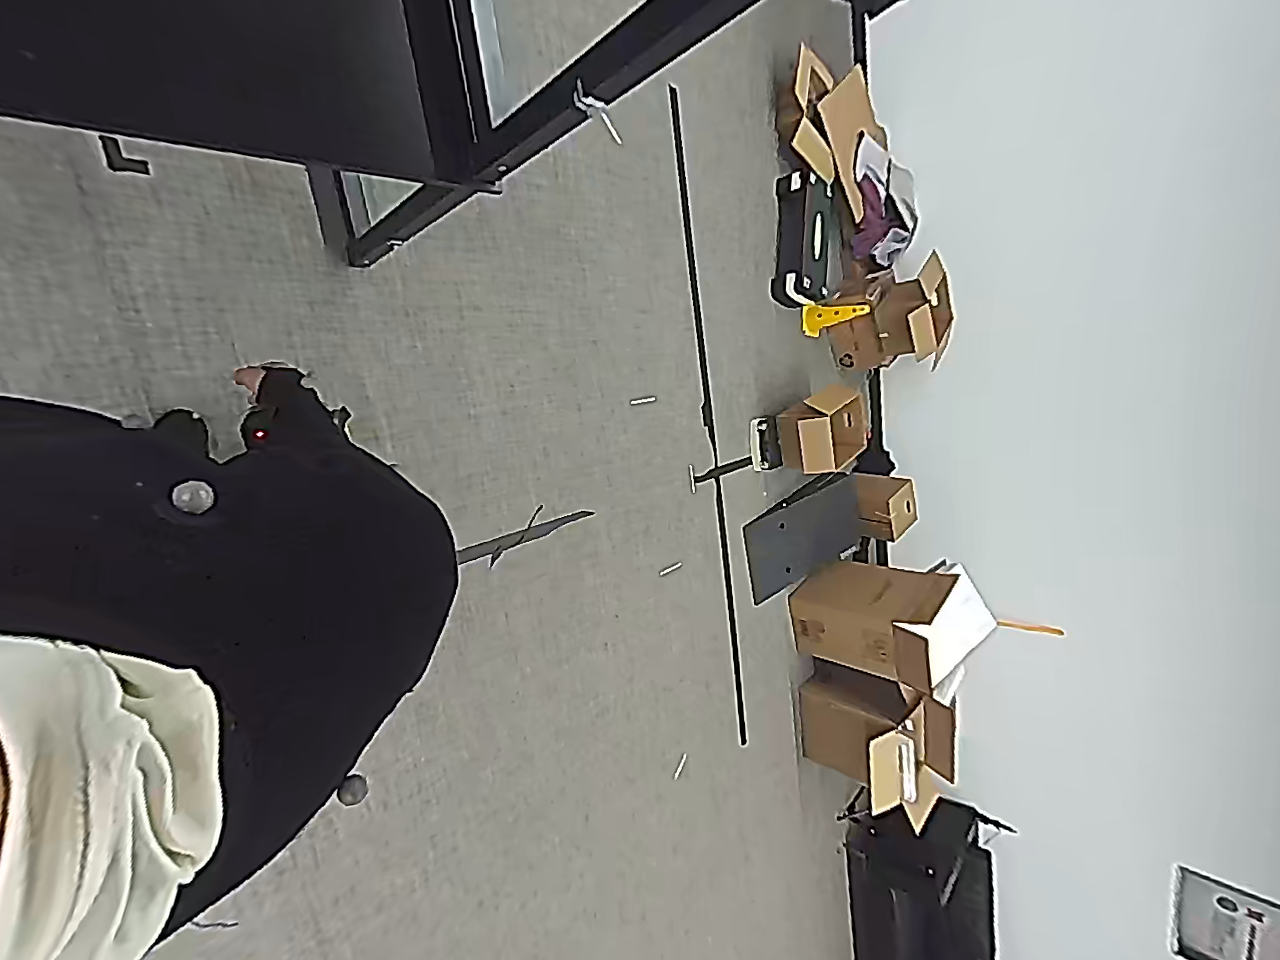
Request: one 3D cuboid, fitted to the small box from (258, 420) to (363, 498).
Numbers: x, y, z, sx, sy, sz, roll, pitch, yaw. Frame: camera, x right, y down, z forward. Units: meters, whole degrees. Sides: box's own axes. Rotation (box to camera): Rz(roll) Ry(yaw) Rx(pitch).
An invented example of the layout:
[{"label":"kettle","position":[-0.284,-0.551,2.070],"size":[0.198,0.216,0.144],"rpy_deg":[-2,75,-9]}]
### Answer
[{"label":"small box","position":[-0.853,-0.060,1.401],"size":[0.179,0.176,0.168],"rpy_deg":[-20,106,-41]}]
